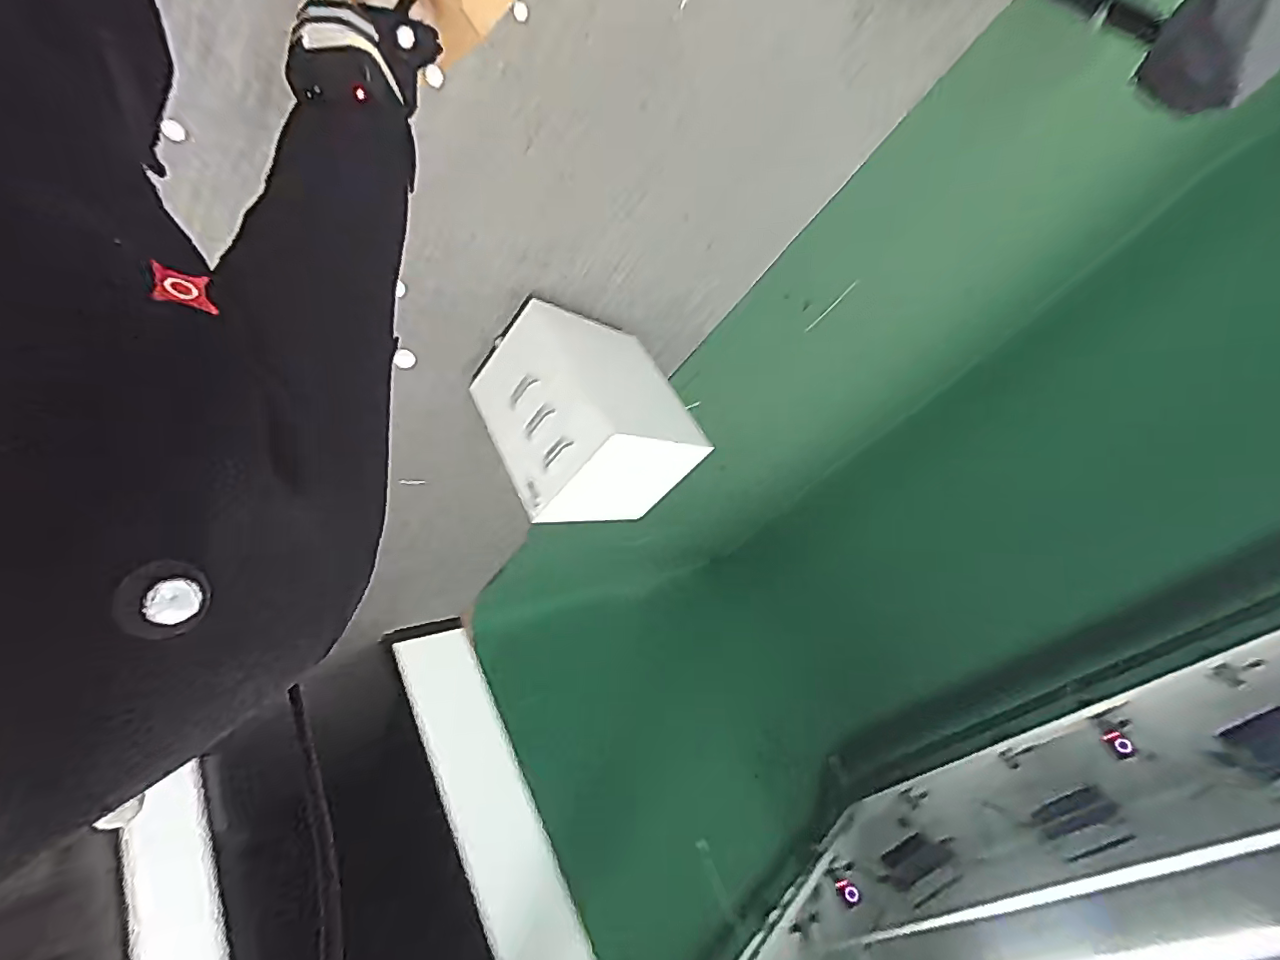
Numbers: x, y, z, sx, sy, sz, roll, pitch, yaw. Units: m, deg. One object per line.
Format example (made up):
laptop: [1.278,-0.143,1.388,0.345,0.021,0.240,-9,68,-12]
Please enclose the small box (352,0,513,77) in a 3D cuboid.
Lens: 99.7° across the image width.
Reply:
small box: [-0.197,-0.546,0.521,0.168,0.176,0.179,41,74,-41]
